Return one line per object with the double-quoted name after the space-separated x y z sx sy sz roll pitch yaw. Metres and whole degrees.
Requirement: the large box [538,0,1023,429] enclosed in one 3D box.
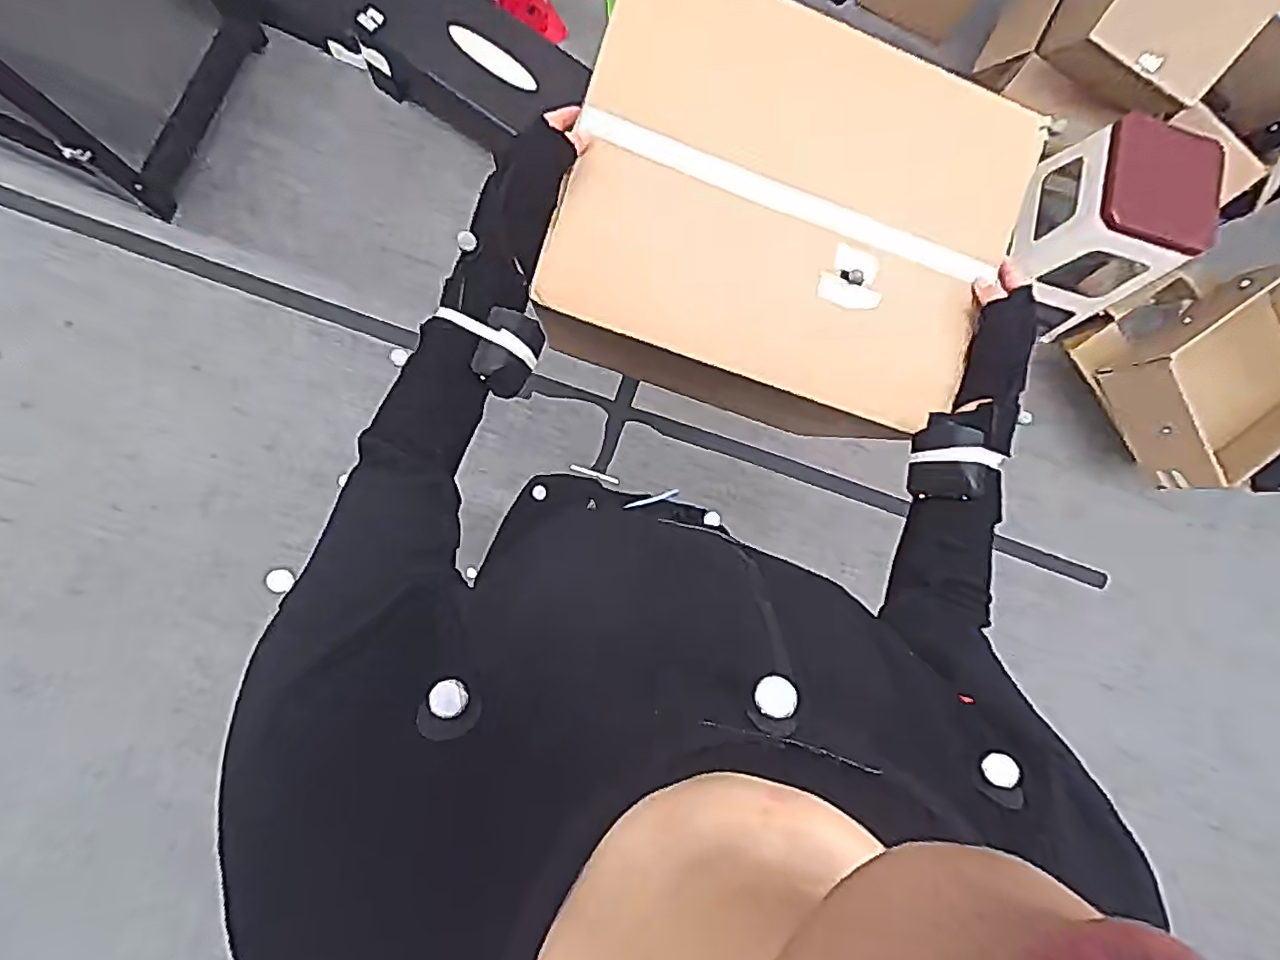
0.117 -0.264 0.642 0.408 0.320 0.320 17 95 -9 "large box"
